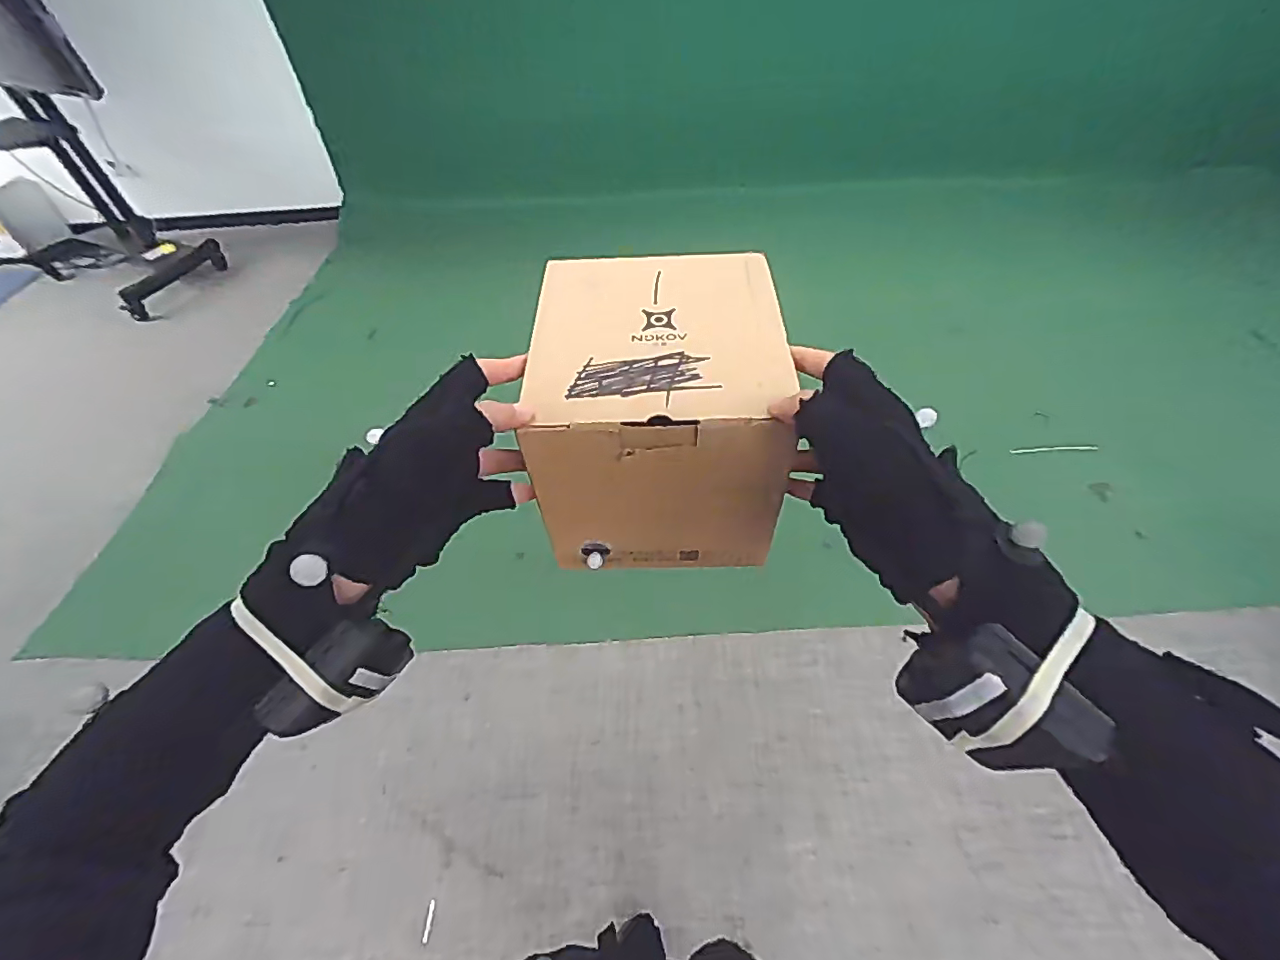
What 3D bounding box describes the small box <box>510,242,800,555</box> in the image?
[{"bbox_3d":[0.013,-0.054,0.410,0.168,0.176,0.179,-1,52,2],"label":"small box"}]
